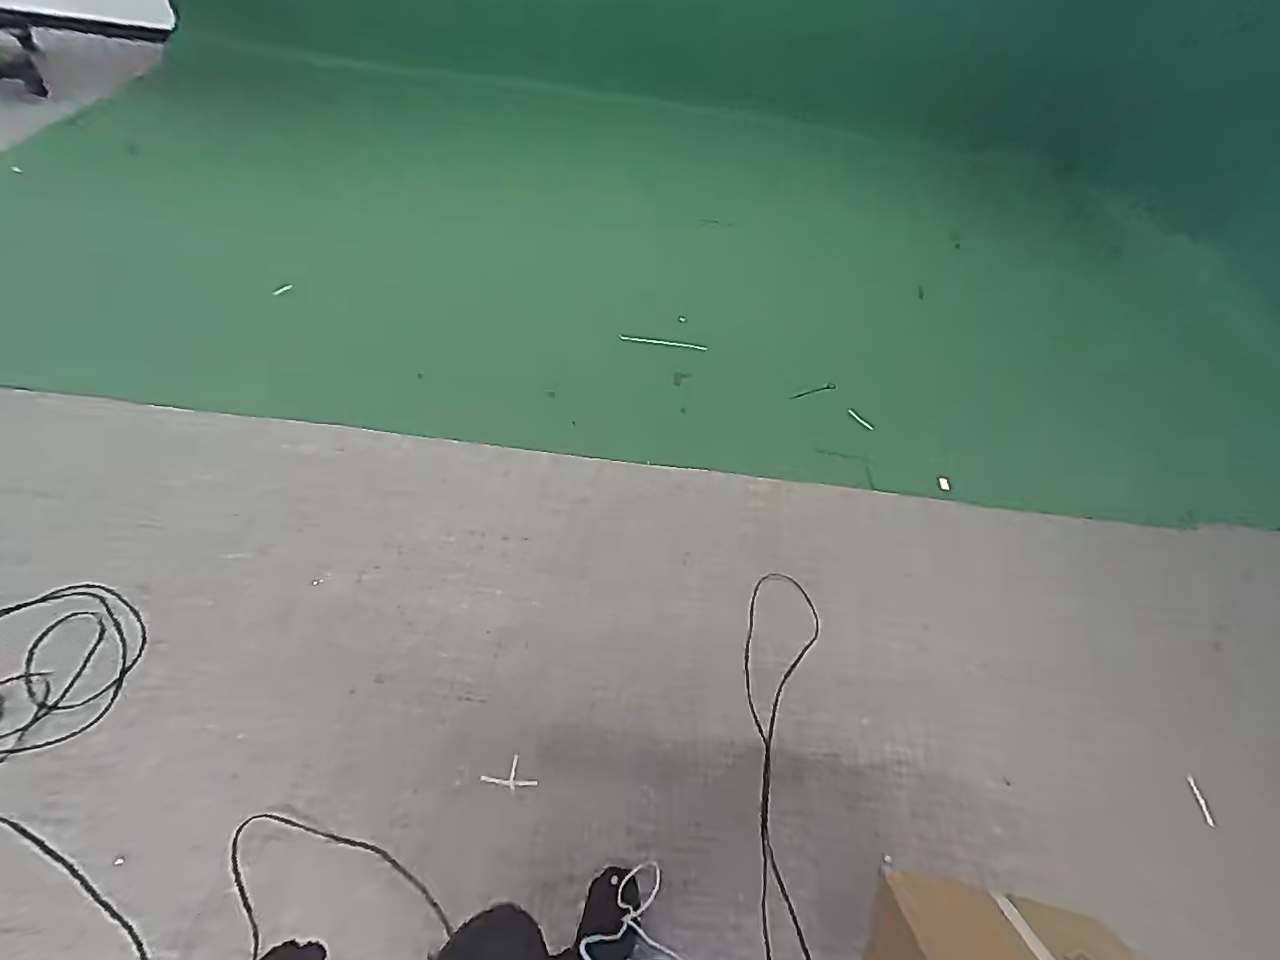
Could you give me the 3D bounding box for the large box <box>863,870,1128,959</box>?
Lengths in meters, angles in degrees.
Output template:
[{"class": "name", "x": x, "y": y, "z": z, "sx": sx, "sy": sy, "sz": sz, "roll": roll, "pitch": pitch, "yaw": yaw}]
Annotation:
[{"class": "large box", "x": 0.447, "y": 0.737, "z": 0.575, "sx": 0.320, "sy": 0.408, "sz": 0.320, "roll": 12, "pitch": 88, "yaw": 7}]
